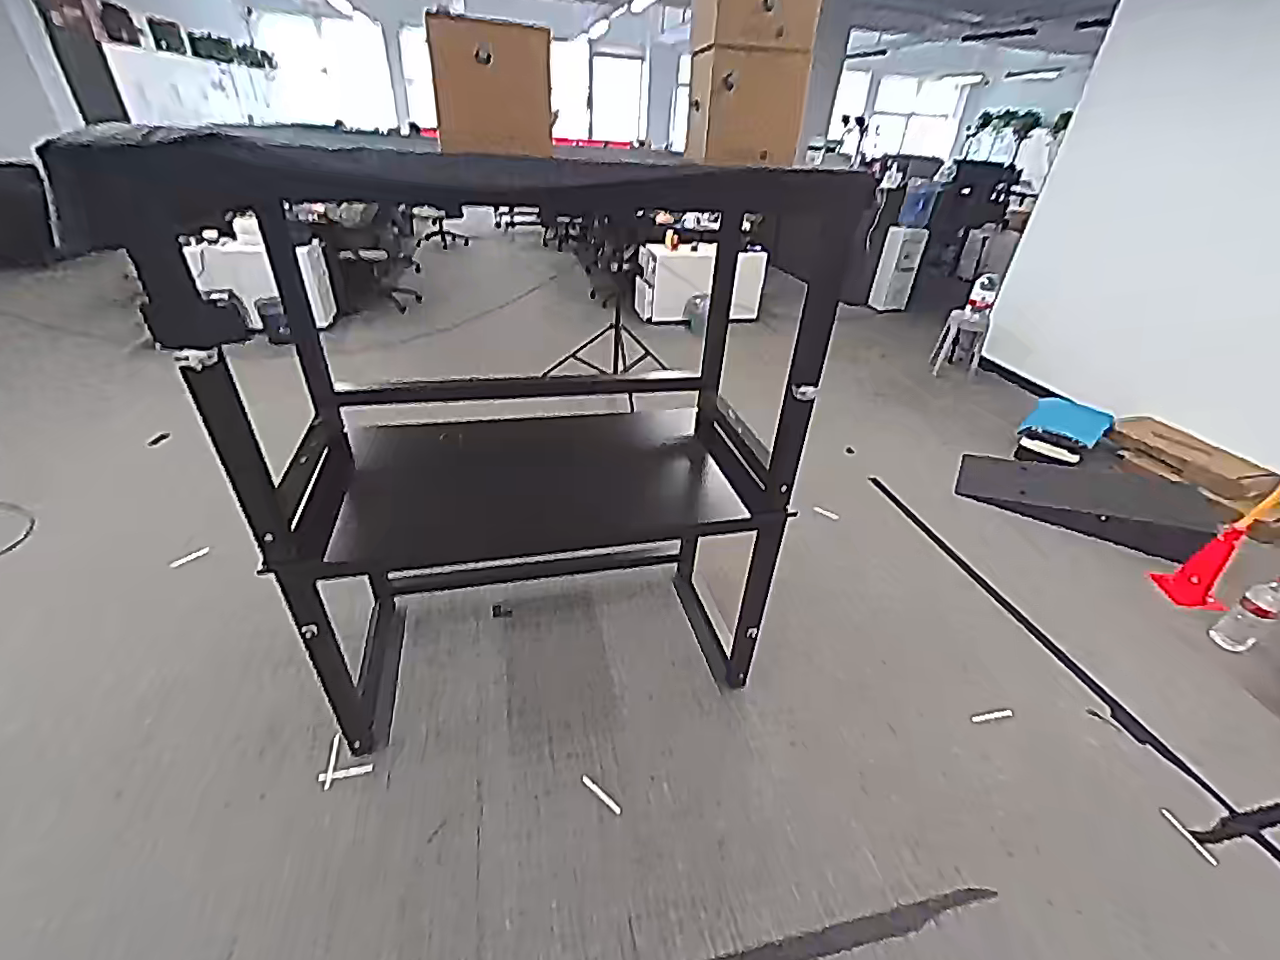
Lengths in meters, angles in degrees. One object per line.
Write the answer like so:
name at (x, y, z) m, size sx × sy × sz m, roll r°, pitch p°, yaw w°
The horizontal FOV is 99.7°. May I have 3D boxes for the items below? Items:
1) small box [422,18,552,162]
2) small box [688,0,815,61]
small box at (-0.244, -0.617, 0.876) m, size 0.179 × 0.176 × 0.168 m, roll -7°, pitch 33°, yaw -16°
small box at (0.179, -0.799, 0.887) m, size 0.168 × 0.176 × 0.179 m, roll -4°, pitch 33°, yaw -9°
